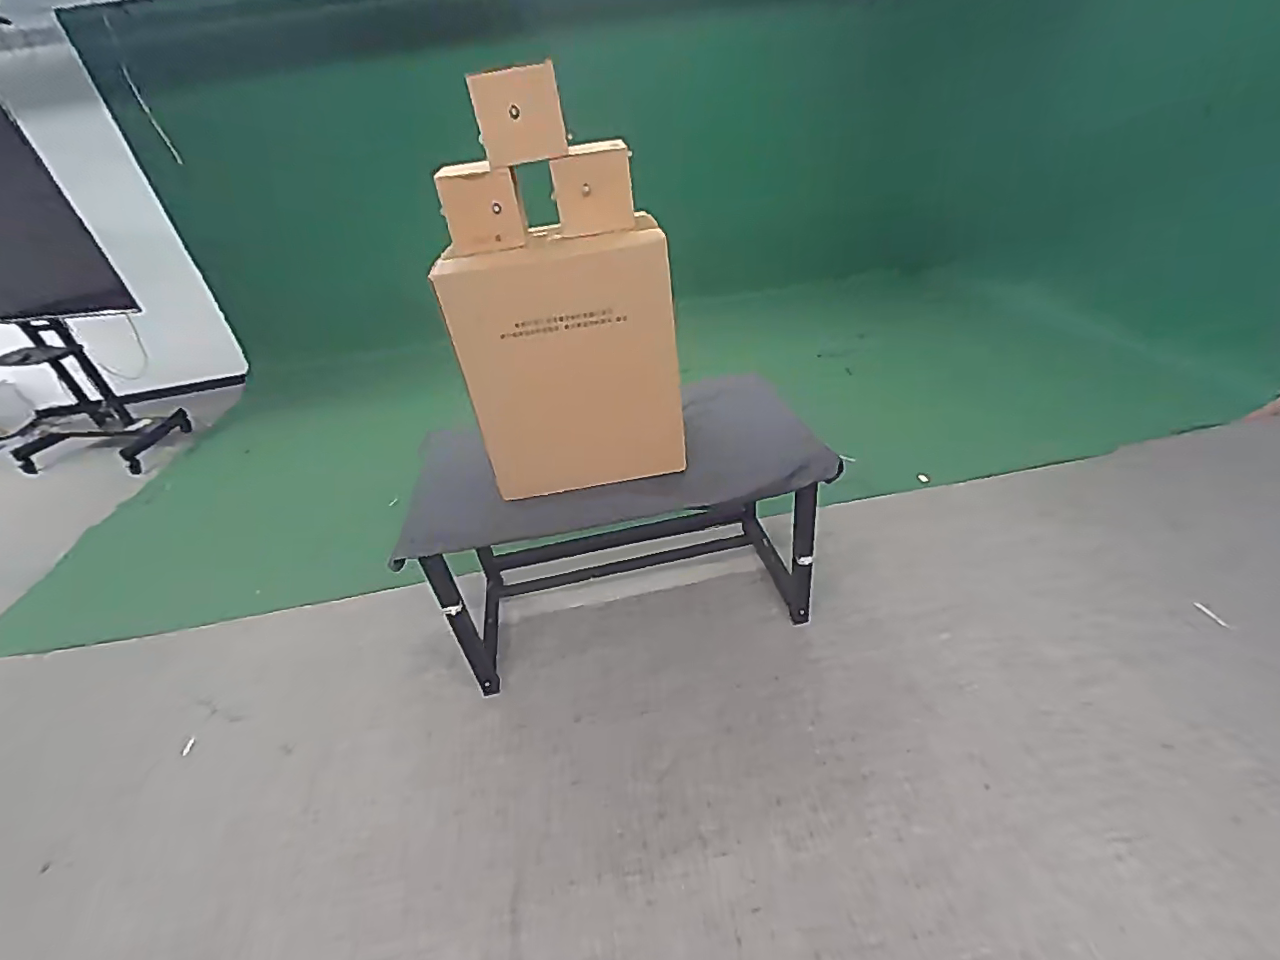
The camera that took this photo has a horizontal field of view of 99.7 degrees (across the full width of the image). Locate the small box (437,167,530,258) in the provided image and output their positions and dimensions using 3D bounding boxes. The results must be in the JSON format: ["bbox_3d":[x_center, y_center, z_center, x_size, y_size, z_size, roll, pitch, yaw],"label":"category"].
[{"bbox_3d":[-0.362,-0.635,1.283,0.168,0.176,0.179,-9,36,-3],"label":"small box"}]

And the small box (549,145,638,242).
[{"bbox_3d":[-0.109,-0.682,1.291,0.179,0.176,0.168,-10,38,0],"label":"small box"}]

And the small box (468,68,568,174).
[{"bbox_3d":[-0.258,-0.788,1.188,0.179,0.176,0.168,-12,37,-1],"label":"small box"}]
